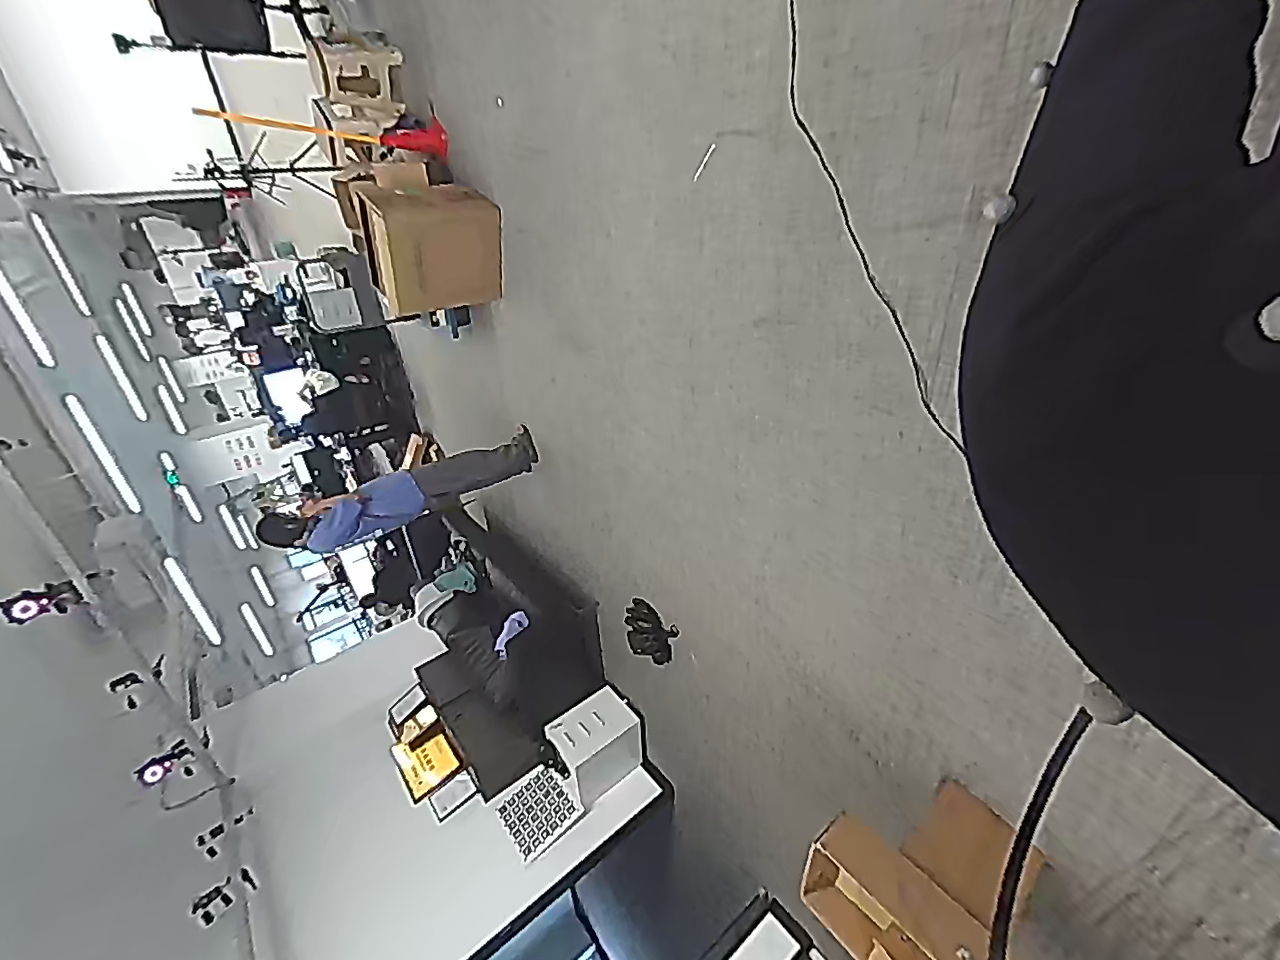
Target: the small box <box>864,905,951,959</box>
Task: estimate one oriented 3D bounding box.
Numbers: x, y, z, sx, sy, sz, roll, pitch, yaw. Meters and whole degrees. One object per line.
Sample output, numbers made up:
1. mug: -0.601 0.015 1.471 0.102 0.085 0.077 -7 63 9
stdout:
1. small box: 0.806 1.443 1.631 0.168 0.176 0.179 33 138 44
